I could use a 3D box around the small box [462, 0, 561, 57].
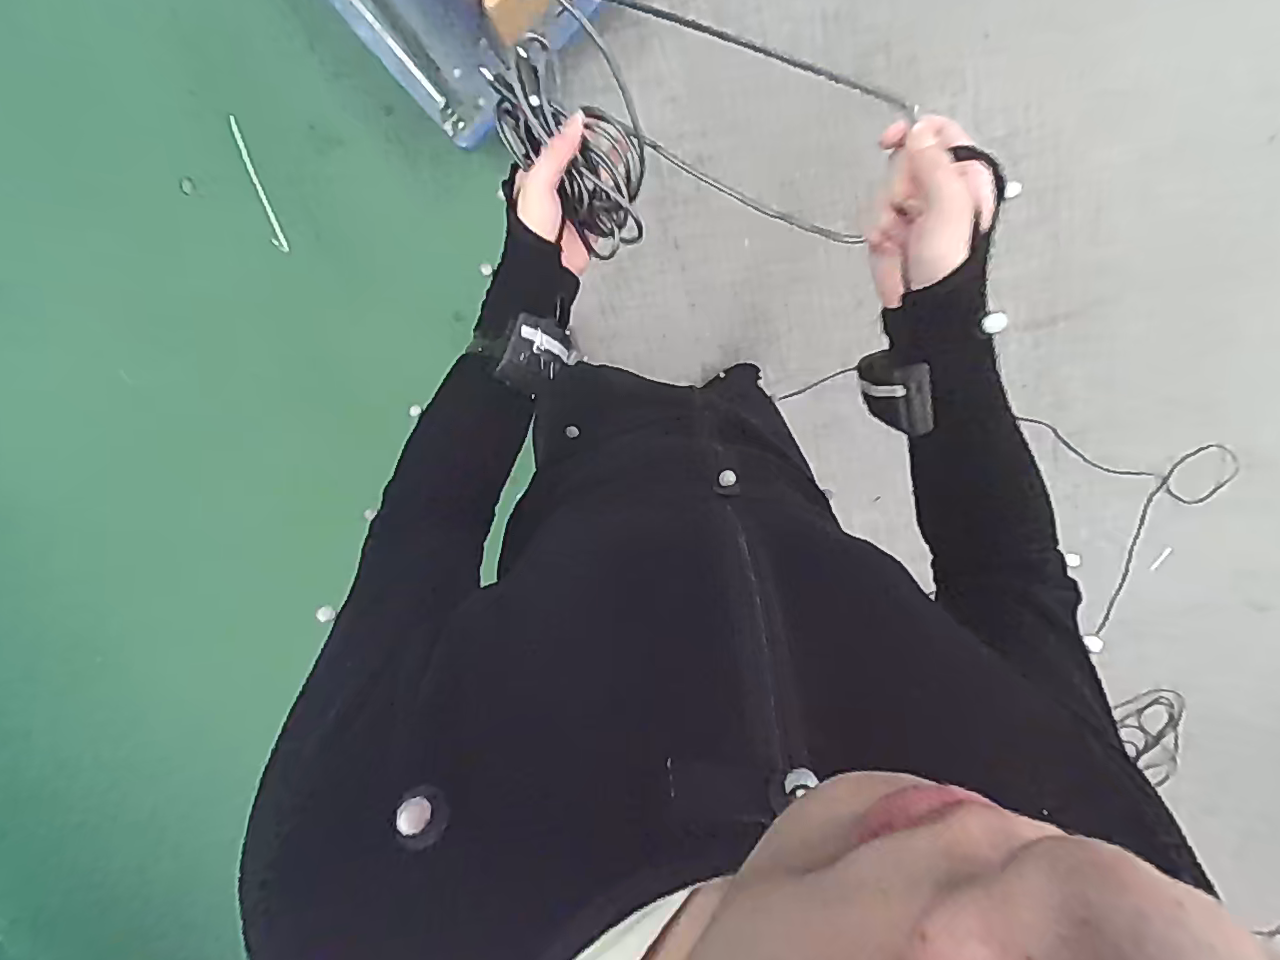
[{"bbox_3d":[-0.261,-0.973,1.031,0.179,0.176,0.168,-39,105,12],"label":"small box"}]
